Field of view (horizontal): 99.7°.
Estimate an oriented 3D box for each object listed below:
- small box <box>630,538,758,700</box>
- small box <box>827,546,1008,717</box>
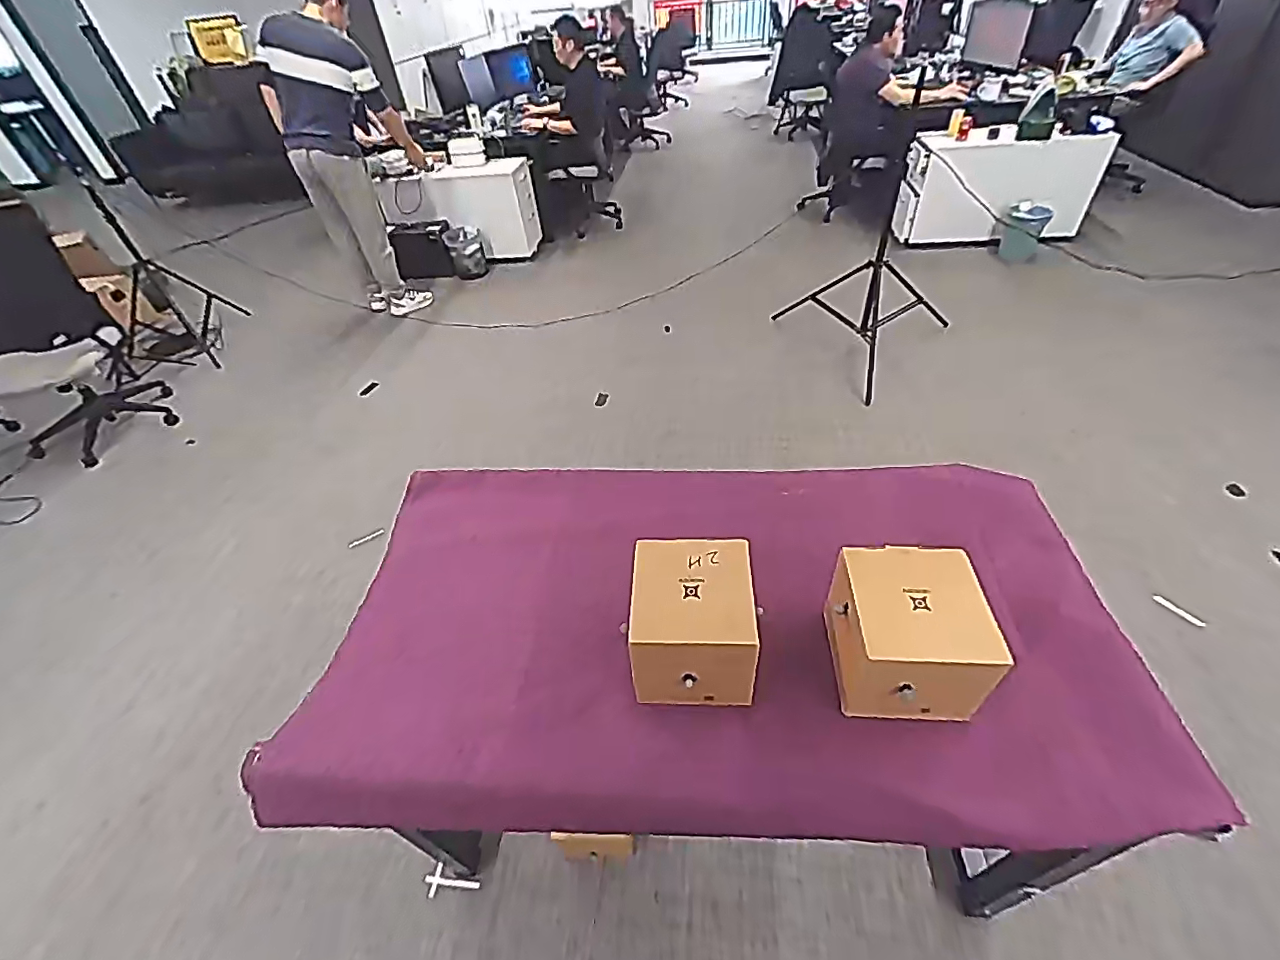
[{"bbox_3d":[0.079,0.205,0.796,0.168,0.176,0.179,0,42,5],"label":"small box"},{"bbox_3d":[0.368,0.212,0.757,0.168,0.176,0.179,0,43,7],"label":"small box"}]
